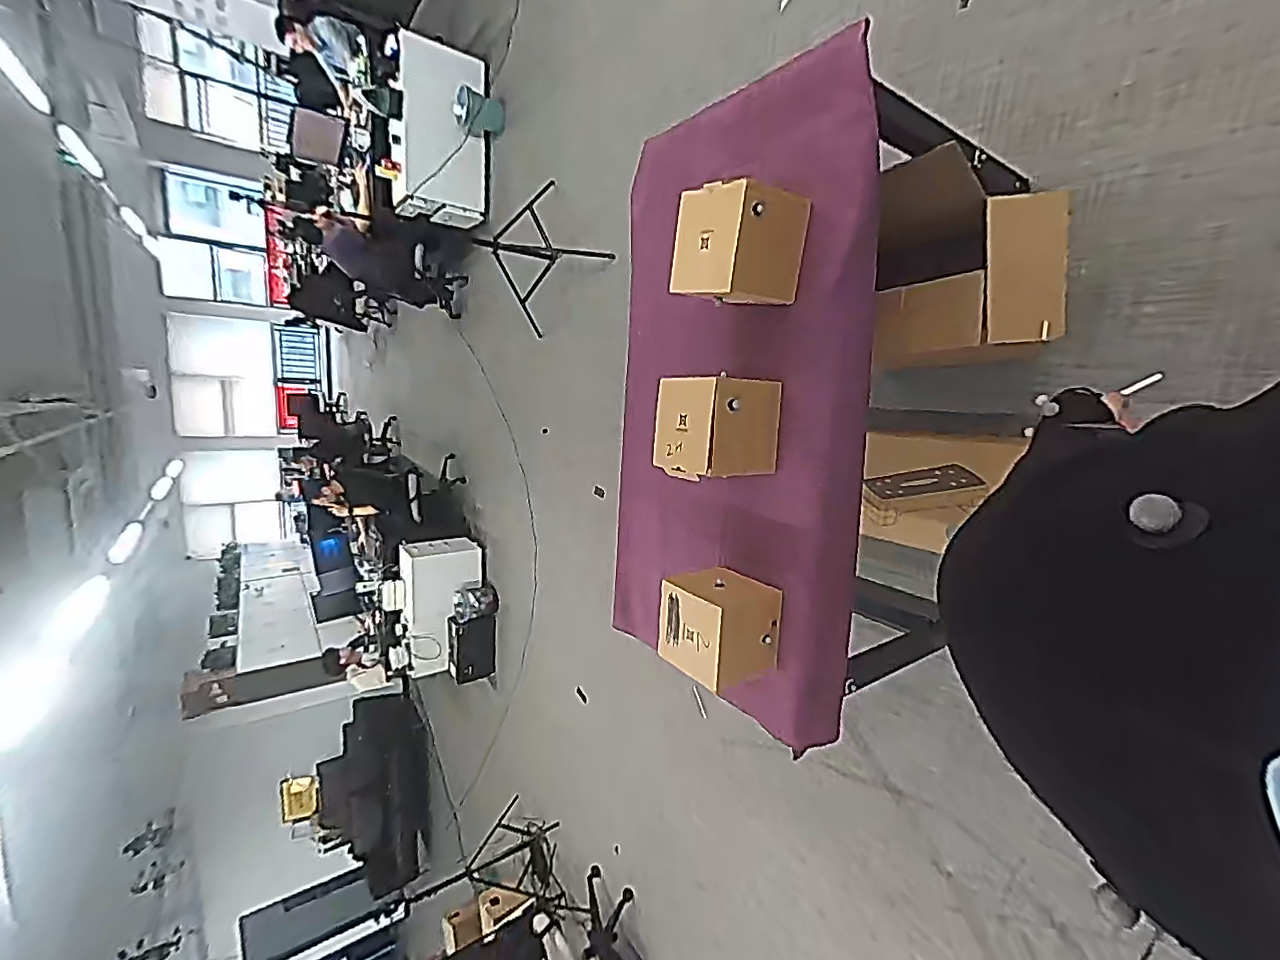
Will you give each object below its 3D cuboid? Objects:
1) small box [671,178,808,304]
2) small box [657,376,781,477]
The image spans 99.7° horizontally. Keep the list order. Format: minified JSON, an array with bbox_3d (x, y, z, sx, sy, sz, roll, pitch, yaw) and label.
[{"bbox_3d":[0.178,-0.416,0.972,0.168,0.176,0.179,25,113,51],"label":"small box"},{"bbox_3d":[0.151,-0.106,1.038,0.168,0.176,0.179,15,106,56],"label":"small box"}]
